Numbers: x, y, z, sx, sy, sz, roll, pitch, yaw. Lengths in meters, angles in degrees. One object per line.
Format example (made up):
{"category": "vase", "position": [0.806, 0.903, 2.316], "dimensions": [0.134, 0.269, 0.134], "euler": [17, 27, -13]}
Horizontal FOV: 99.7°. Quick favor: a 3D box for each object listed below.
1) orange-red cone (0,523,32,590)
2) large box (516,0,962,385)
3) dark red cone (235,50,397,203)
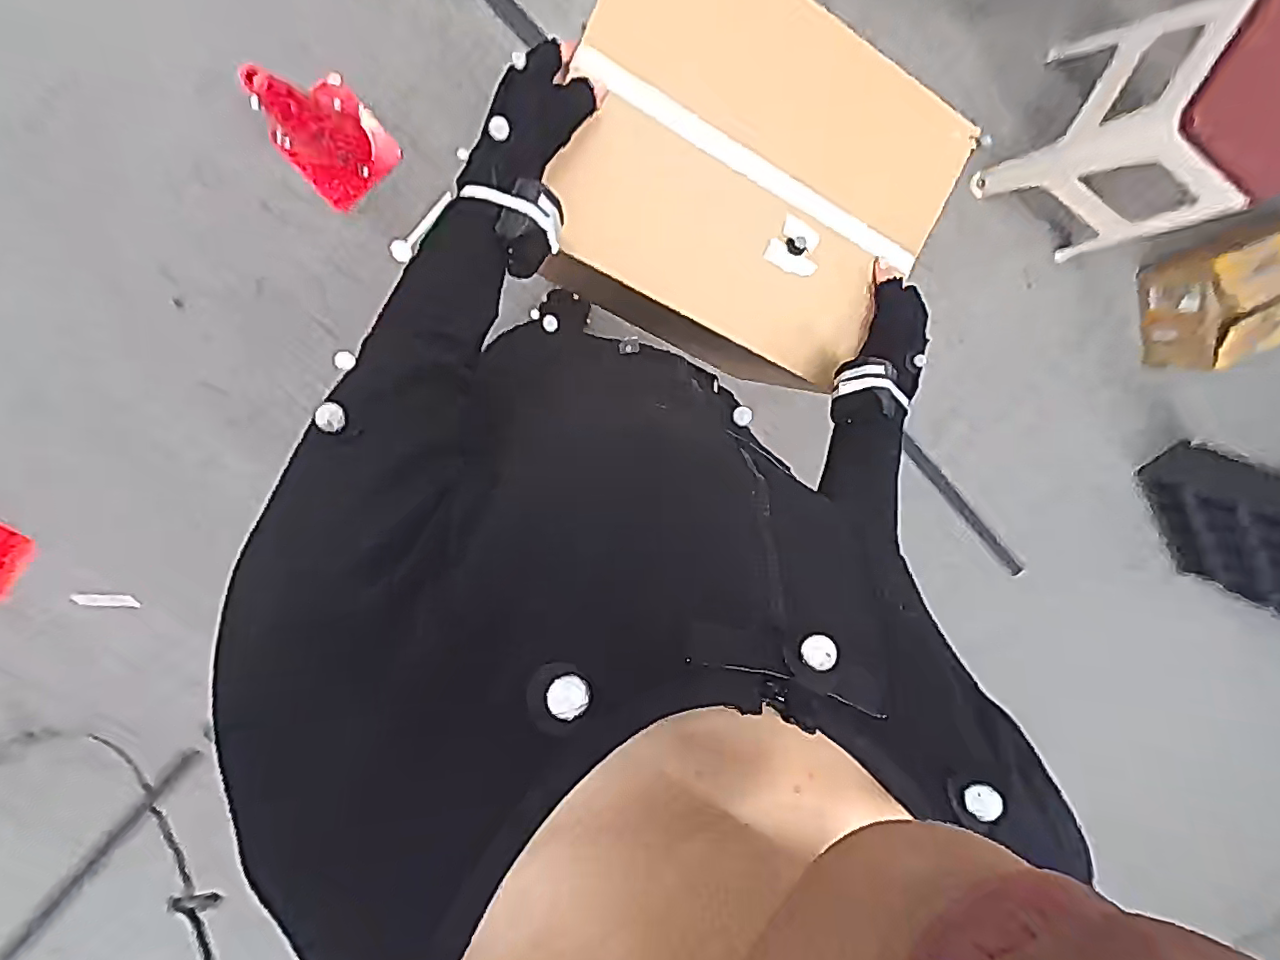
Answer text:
{"category": "orange-red cone", "position": [-1.564, 0.210, 1.123], "dimensions": [0.198, 0.360, 0.199], "euler": [39, 99, -17]}
{"category": "large box", "position": [0.082, -0.349, 0.691], "dimensions": [0.408, 0.320, 0.320], "euler": [22, 99, -17]}
{"category": "dark red cone", "position": [-0.622, -0.676, 0.987], "dimensions": [0.202, 0.394, 0.201], "euler": [-41, 110, 4]}
